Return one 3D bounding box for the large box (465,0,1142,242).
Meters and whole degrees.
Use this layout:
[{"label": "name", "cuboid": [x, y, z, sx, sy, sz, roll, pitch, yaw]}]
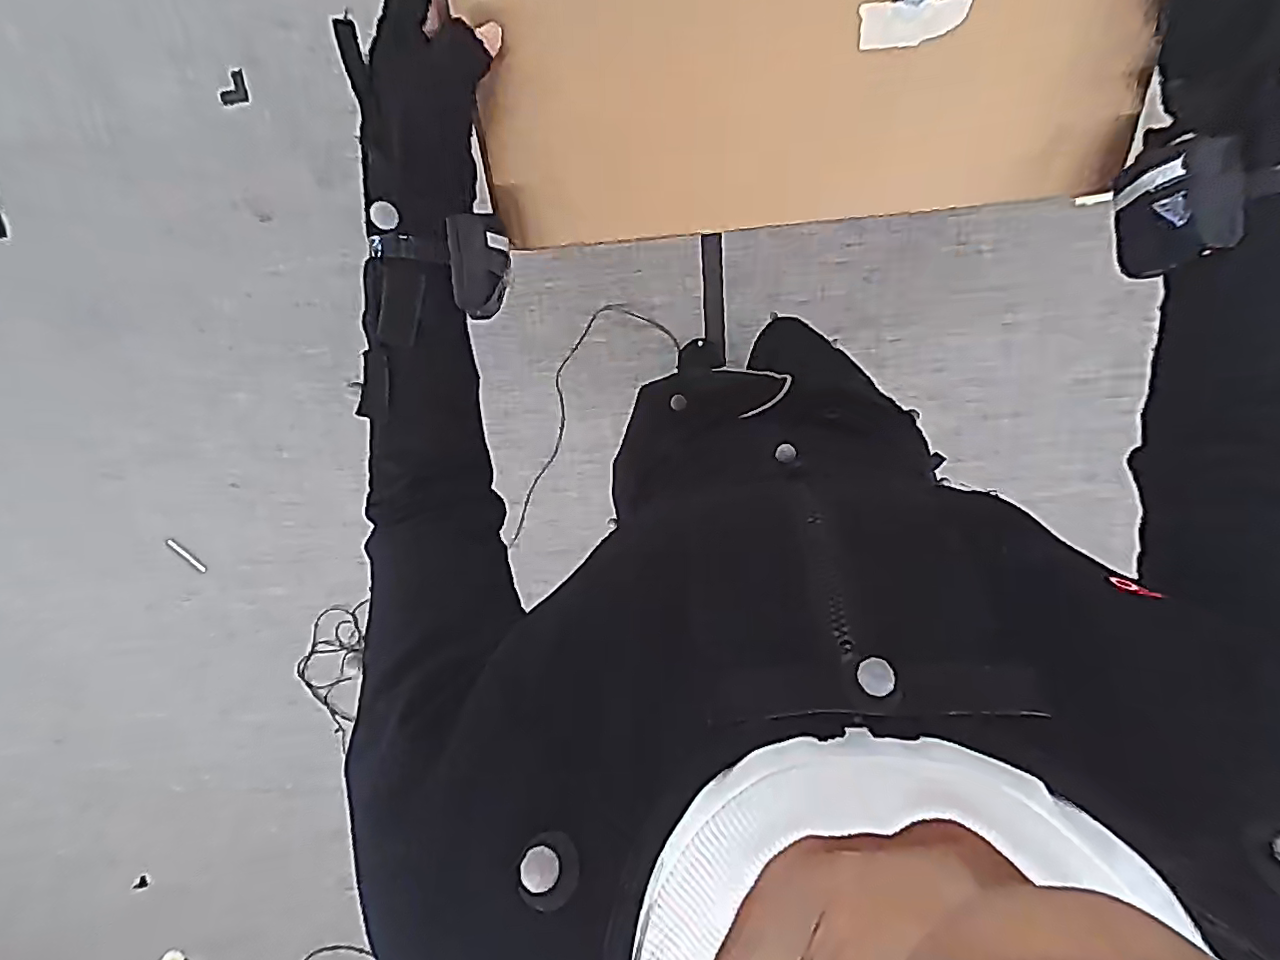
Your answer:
[{"label": "large box", "cuboid": [0.097, -0.395, 0.434, 0.408, 0.320, 0.320, -2, 120, 8]}]
